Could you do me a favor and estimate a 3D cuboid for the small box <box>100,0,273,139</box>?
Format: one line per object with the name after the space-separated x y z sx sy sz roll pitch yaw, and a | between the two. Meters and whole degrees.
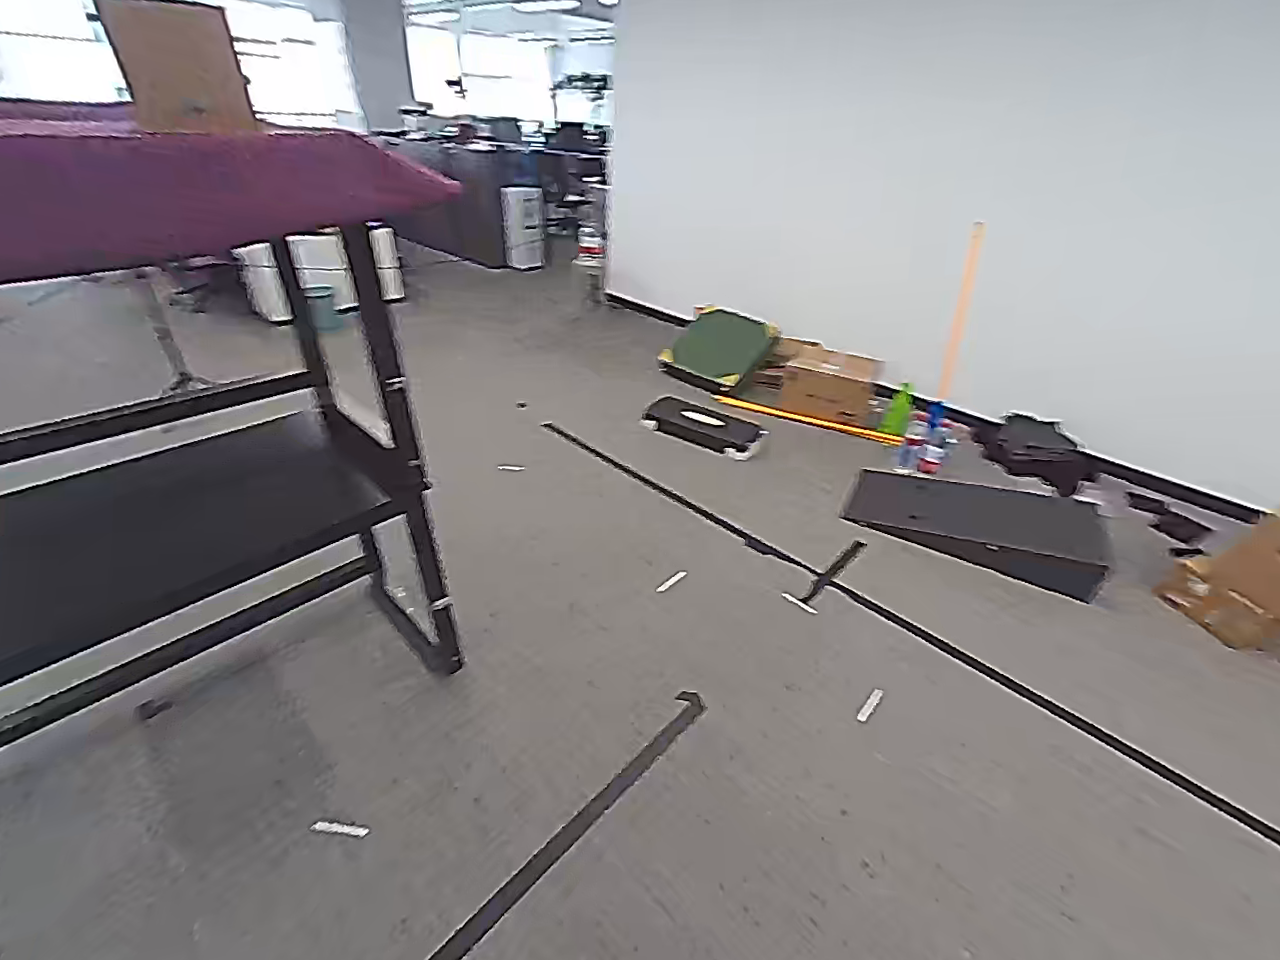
-0.728 -0.665 0.886 0.179 0.176 0.168 -20 40 -30 | small box
